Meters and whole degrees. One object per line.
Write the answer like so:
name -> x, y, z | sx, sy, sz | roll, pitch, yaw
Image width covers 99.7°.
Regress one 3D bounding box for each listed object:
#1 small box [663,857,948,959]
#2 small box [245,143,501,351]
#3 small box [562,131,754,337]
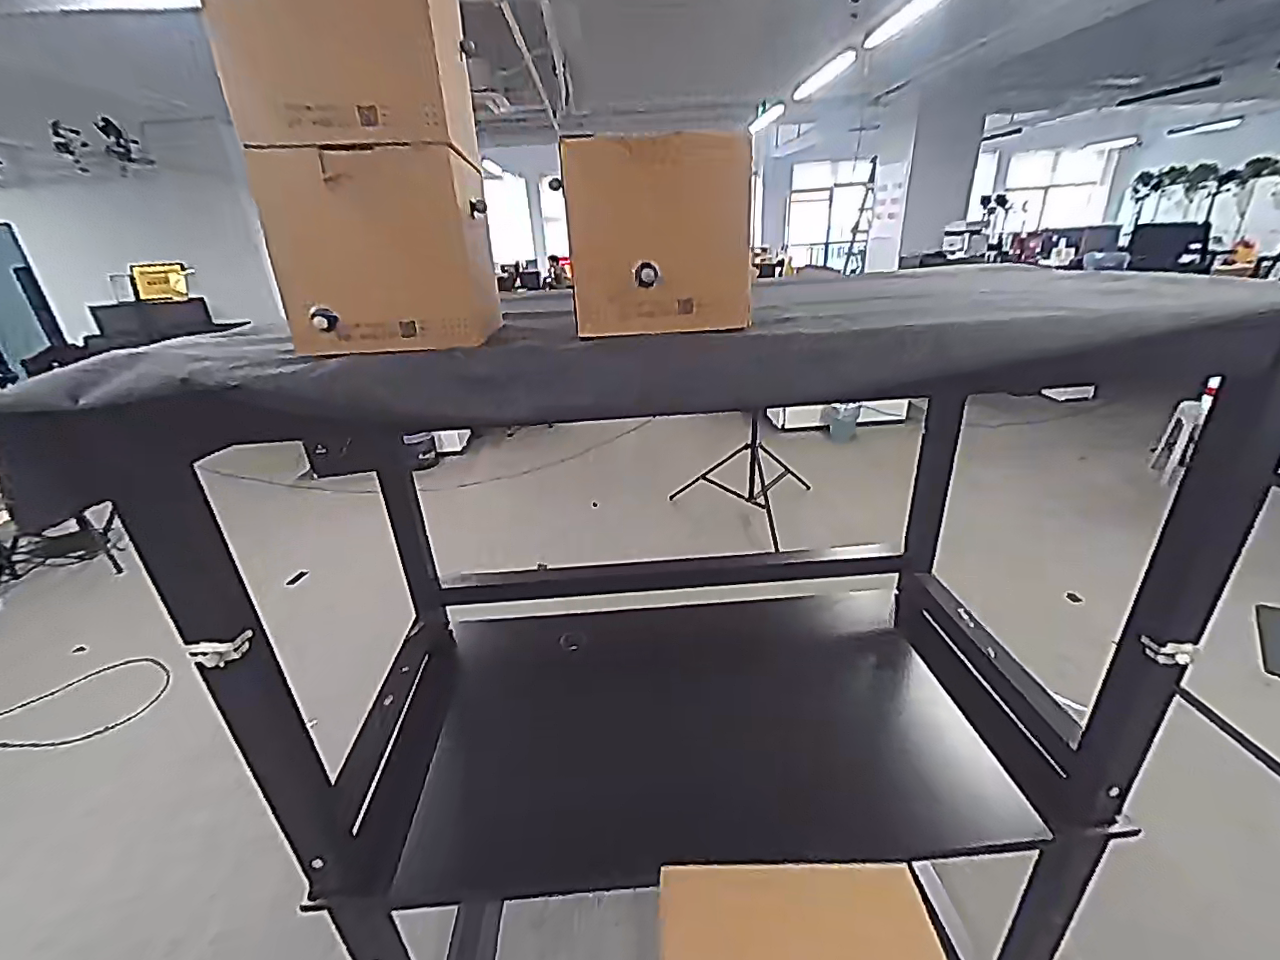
small box -> 0.098, 0.366, 0.325 | 0.168, 0.176, 0.179 | -1, 29, 1
small box -> -0.241, -0.225, 0.546 | 0.168, 0.176, 0.179 | -4, 22, -4
small box -> 0.014, -0.244, 0.560 | 0.168, 0.176, 0.179 | -4, 23, -2
